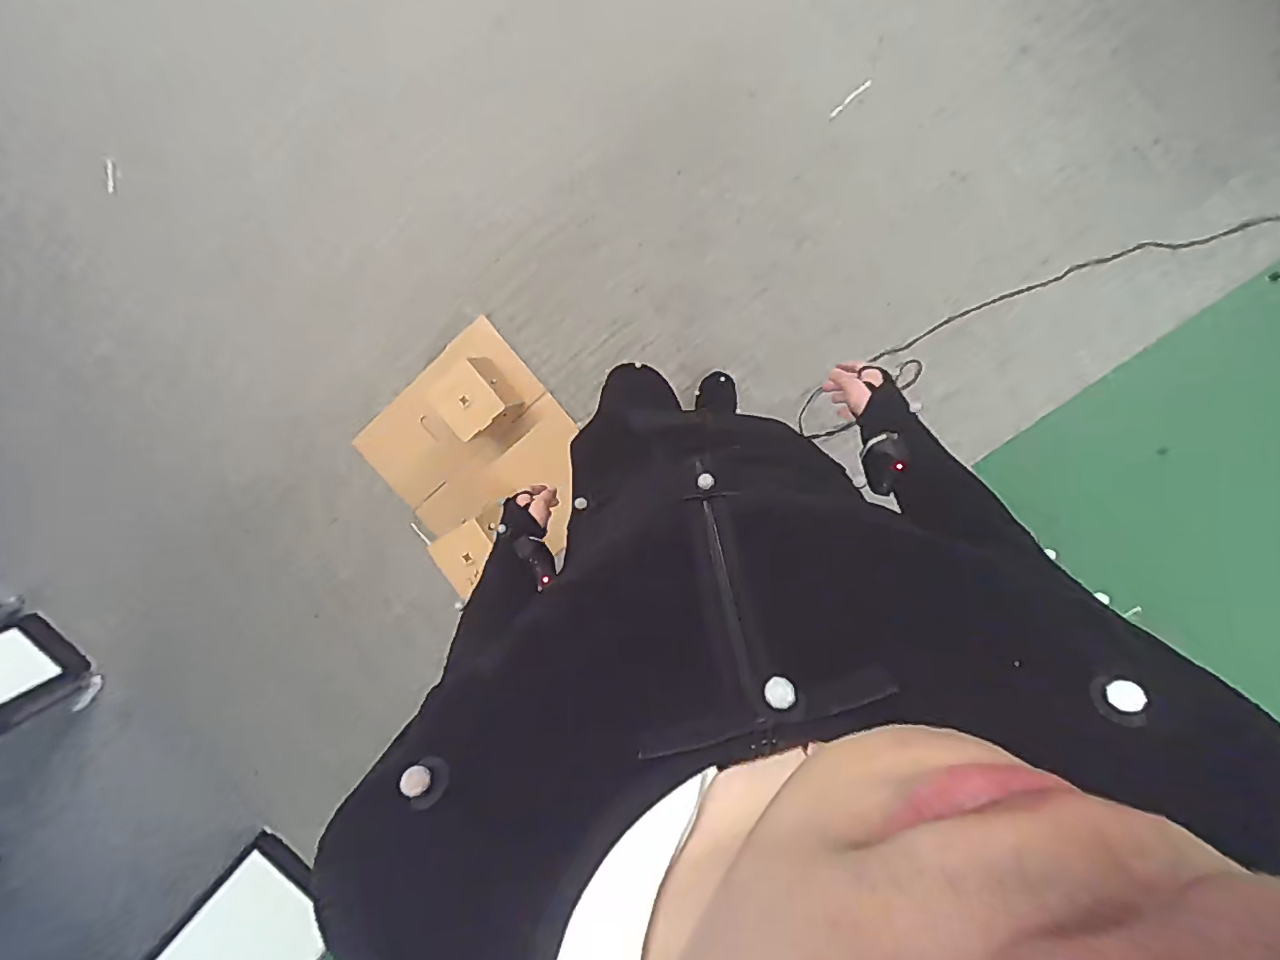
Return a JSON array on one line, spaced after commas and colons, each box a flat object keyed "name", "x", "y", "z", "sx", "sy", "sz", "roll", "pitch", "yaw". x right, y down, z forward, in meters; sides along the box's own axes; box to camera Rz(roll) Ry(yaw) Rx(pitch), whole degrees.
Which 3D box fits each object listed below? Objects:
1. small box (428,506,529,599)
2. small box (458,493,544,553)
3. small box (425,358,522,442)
[{"name": "small box", "x": -0.434, "y": 0.188, "z": 1.482, "sx": 0.168, "sy": 0.176, "sz": 0.179, "roll": -31, "pitch": 99, "yaw": 13}, {"name": "small box", "x": -0.420, "y": 0.155, "z": 1.644, "sx": 0.168, "sy": 0.176, "sz": 0.179, "roll": -30, "pitch": 98, "yaw": 12}, {"name": "small box", "x": -0.470, "y": -0.237, "z": 1.557, "sx": 0.168, "sy": 0.176, "sz": 0.179, "roll": -38, "pitch": 98, "yaw": 13}]
